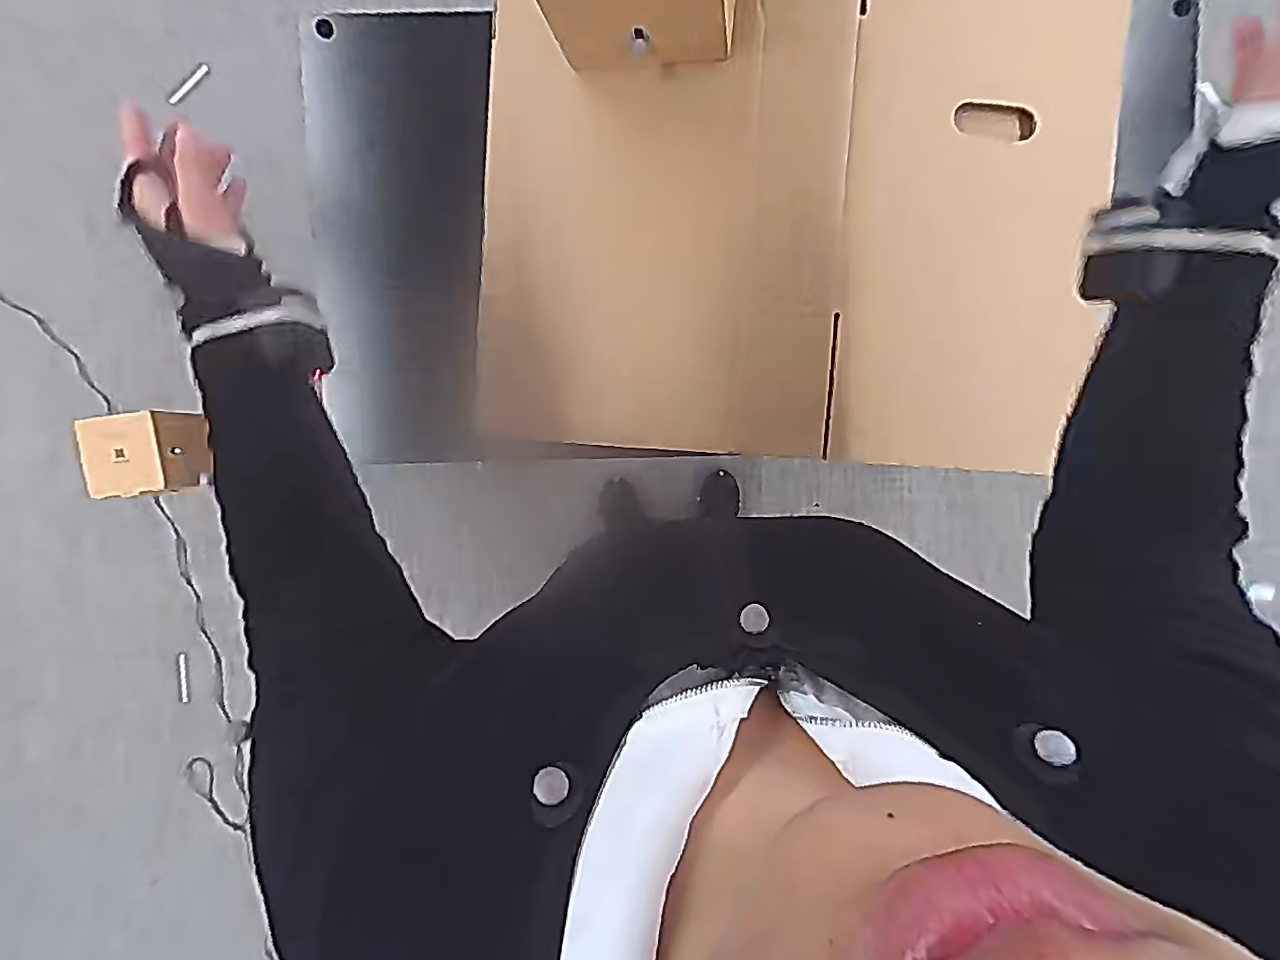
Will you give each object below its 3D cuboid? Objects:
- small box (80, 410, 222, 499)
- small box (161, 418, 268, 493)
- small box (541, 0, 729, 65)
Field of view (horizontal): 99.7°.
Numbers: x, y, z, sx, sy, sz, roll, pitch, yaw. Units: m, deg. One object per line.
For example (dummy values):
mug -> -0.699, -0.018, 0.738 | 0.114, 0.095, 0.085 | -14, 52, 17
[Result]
small box -> -1.112, -0.060, 1.246 | 0.168, 0.176, 0.179 | -8, 93, 0
small box -> -1.111, -0.064, 1.408 | 0.168, 0.176, 0.179 | -5, 94, 0
small box -> -0.003, -0.522, 0.493 | 0.179, 0.176, 0.168 | 6, 92, 12
